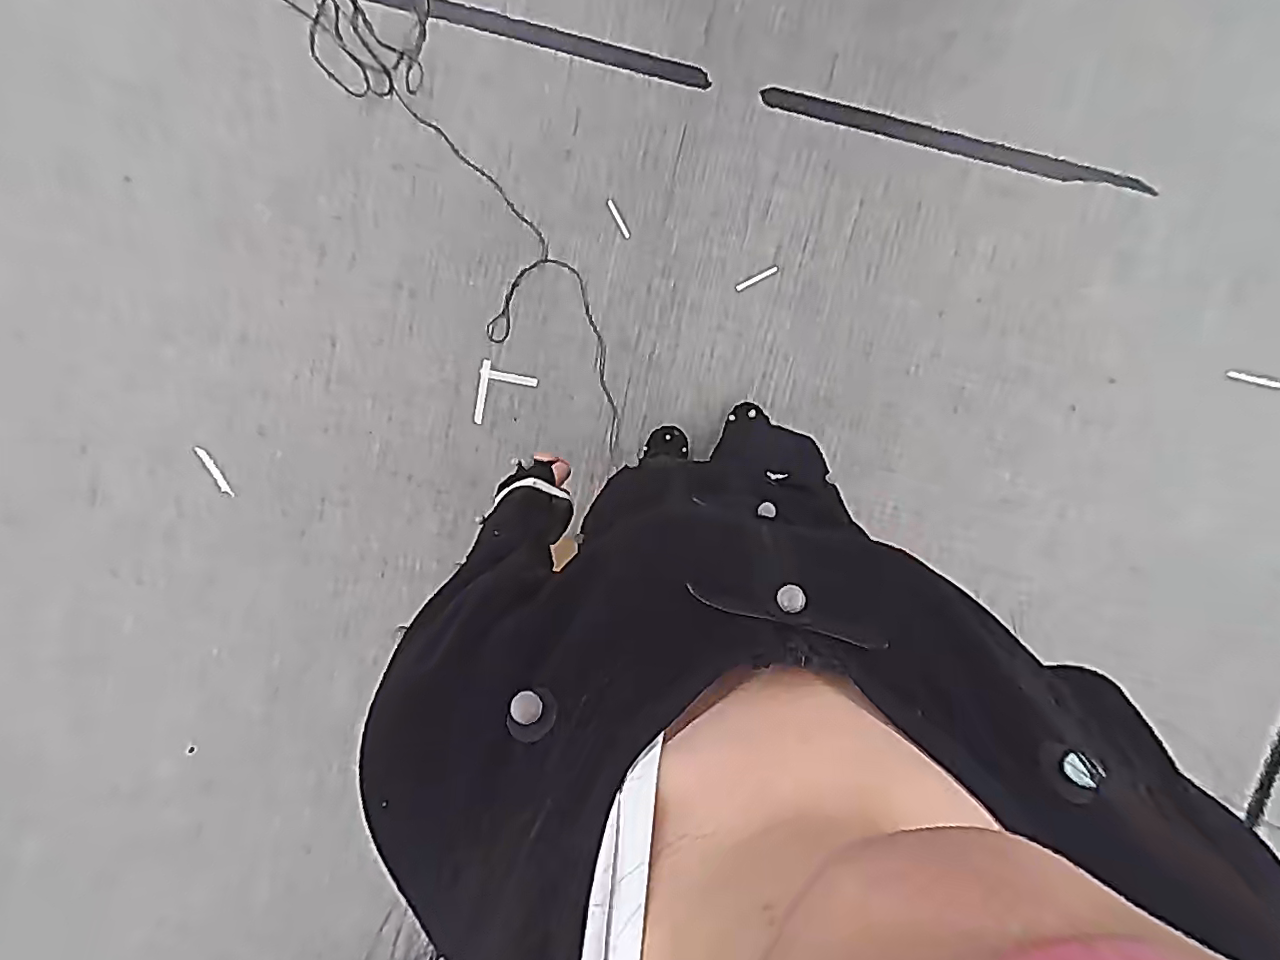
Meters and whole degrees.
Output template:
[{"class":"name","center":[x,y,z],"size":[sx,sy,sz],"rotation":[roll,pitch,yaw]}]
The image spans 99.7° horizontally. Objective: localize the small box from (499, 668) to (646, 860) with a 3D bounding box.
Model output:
[{"class":"small box","center":[-0.095,0.414,0.817],"size":[0.168,0.176,0.179],"rotation":[16,97,-1]}]
